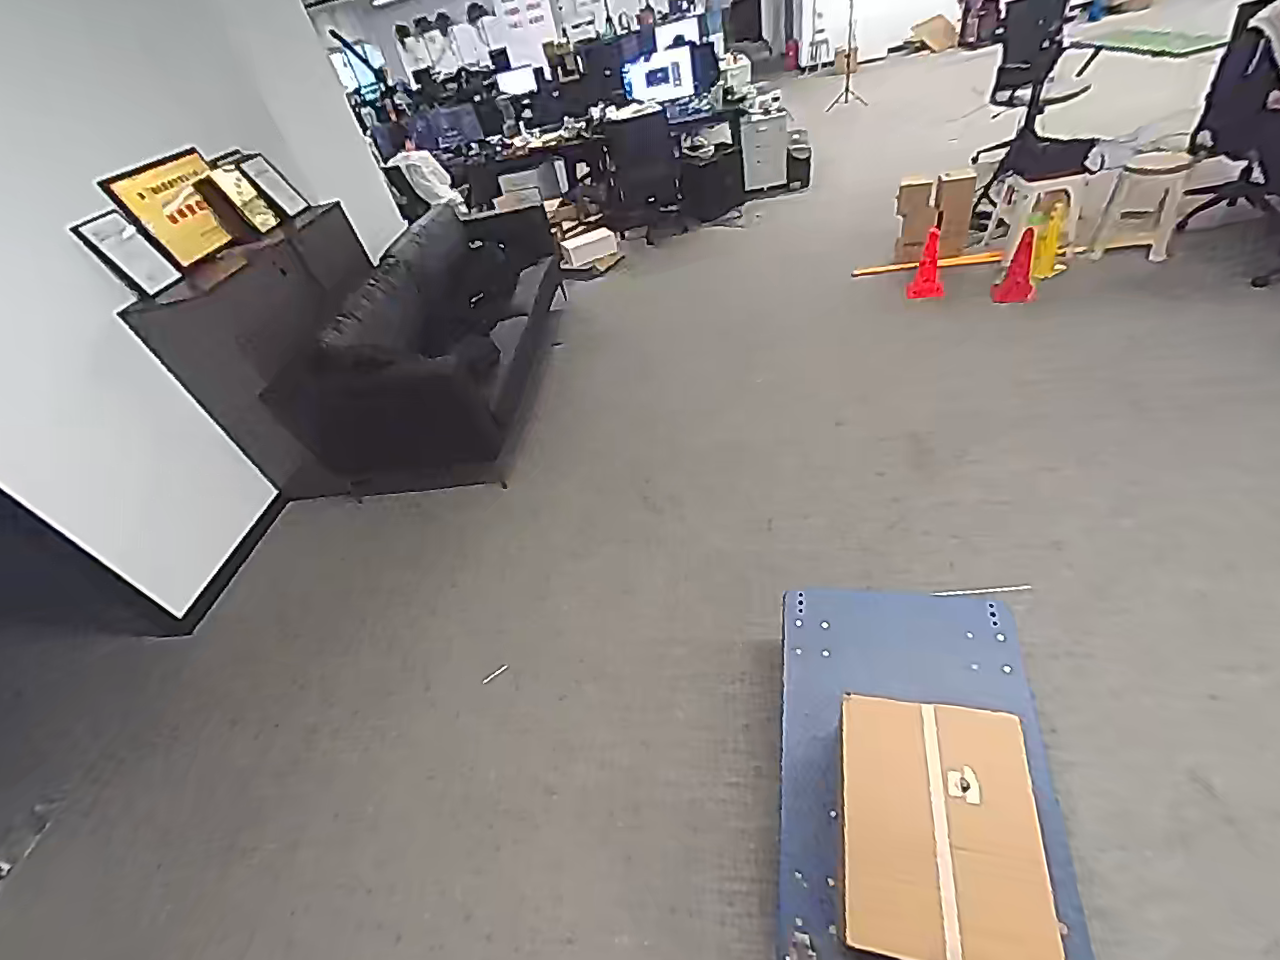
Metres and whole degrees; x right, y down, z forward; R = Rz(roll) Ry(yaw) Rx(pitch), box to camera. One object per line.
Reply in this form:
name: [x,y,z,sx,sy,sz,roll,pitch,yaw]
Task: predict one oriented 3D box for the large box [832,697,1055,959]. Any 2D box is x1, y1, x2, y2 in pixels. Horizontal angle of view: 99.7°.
large box: [0.550,0.698,1.072,0.320,0.320,0.408,2,53,17]
